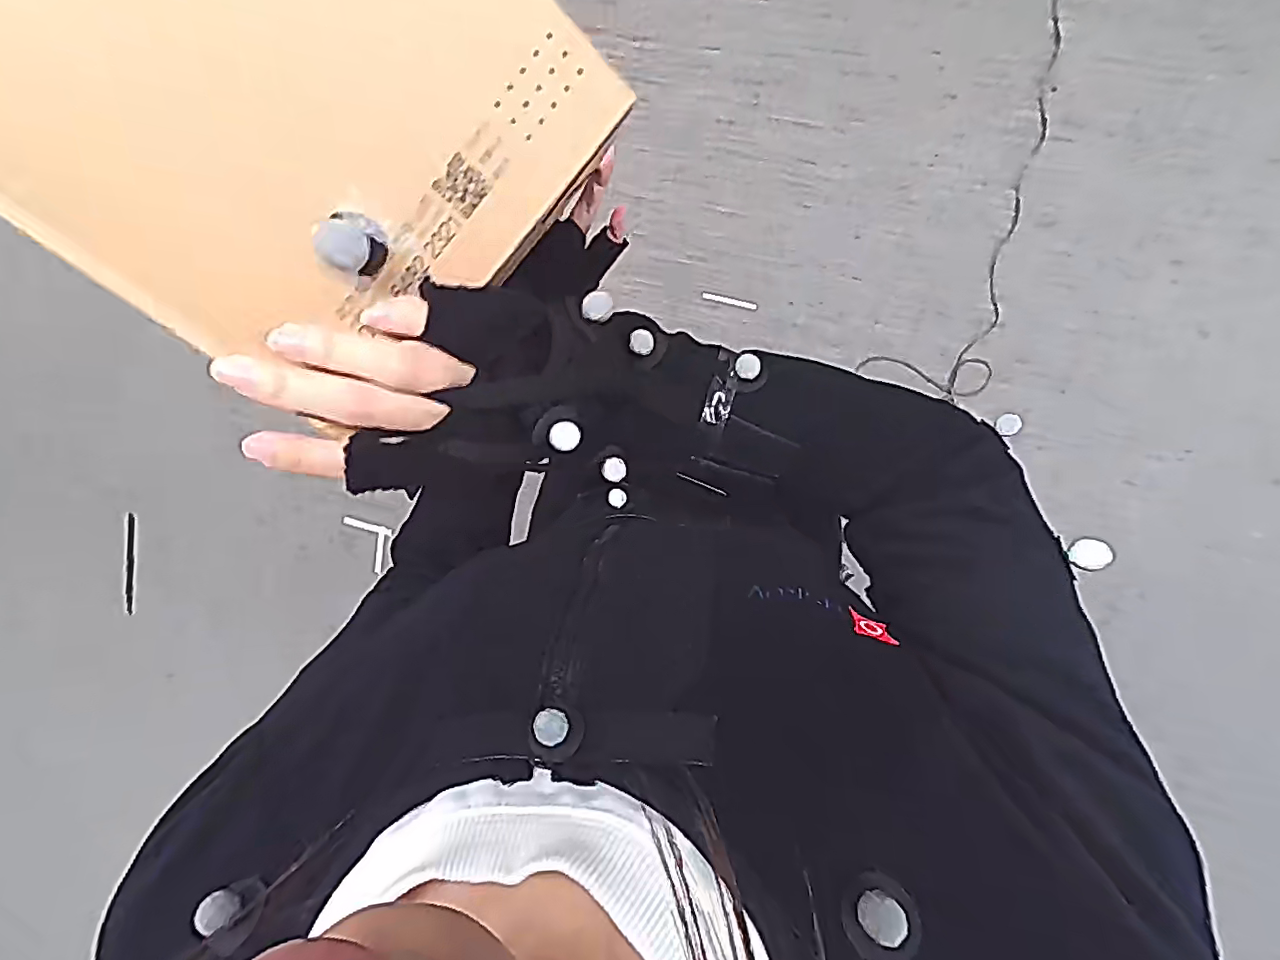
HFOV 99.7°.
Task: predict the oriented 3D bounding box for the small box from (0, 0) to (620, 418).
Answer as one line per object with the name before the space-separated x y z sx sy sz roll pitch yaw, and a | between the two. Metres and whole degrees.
small box | -0.127 -0.155 0.260 0.176 0.179 0.168 39 104 -21
